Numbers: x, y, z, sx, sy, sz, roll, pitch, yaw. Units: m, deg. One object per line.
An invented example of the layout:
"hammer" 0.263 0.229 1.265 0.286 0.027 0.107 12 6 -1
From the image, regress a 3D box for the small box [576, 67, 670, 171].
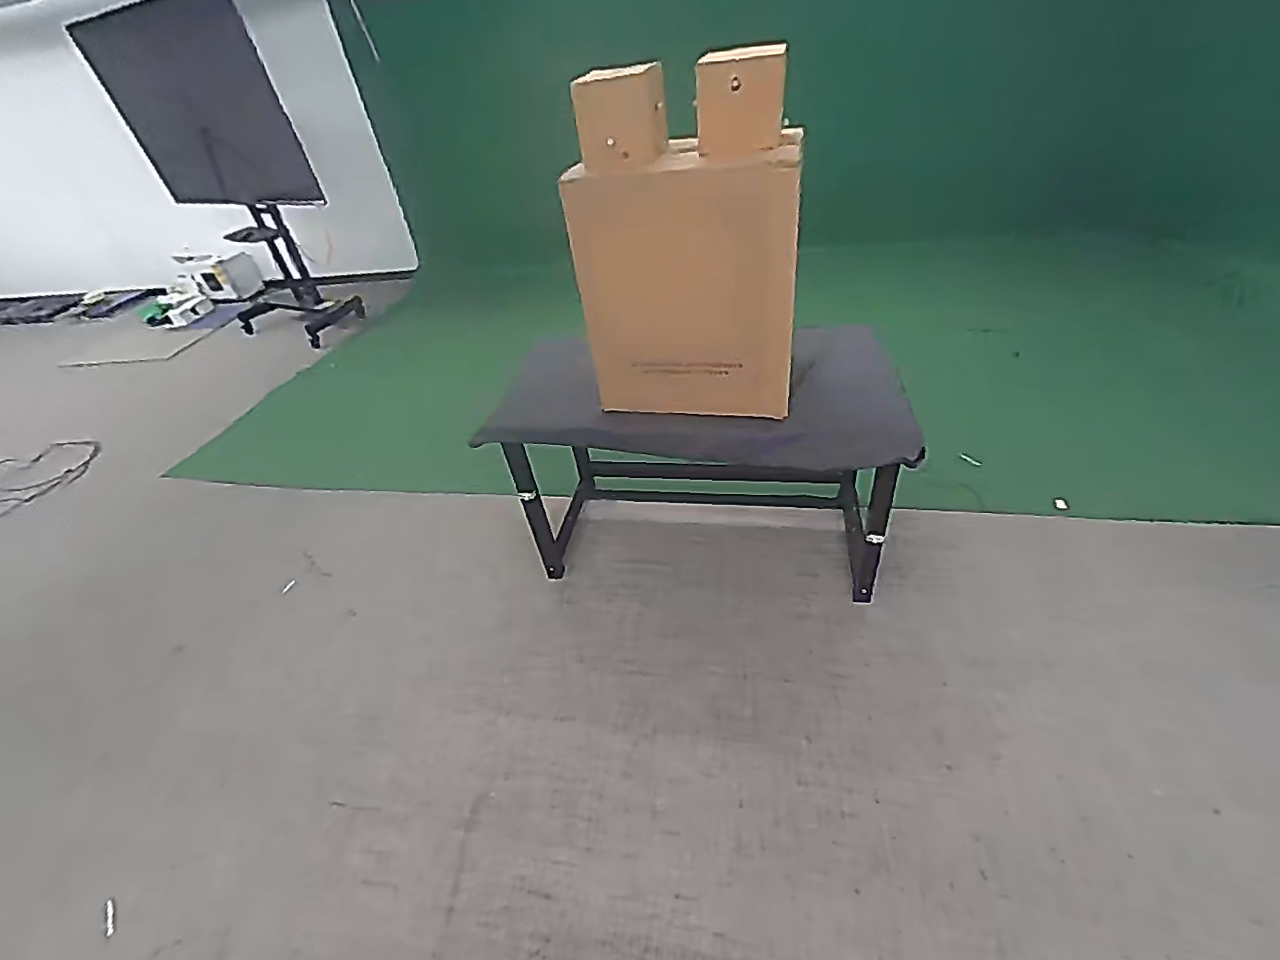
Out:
"small box" -0.030 -0.828 1.245 0.168 0.176 0.179 4 44 16

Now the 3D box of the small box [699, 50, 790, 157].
"small box" 0.231 -0.828 1.194 0.179 0.176 0.168 6 44 13
